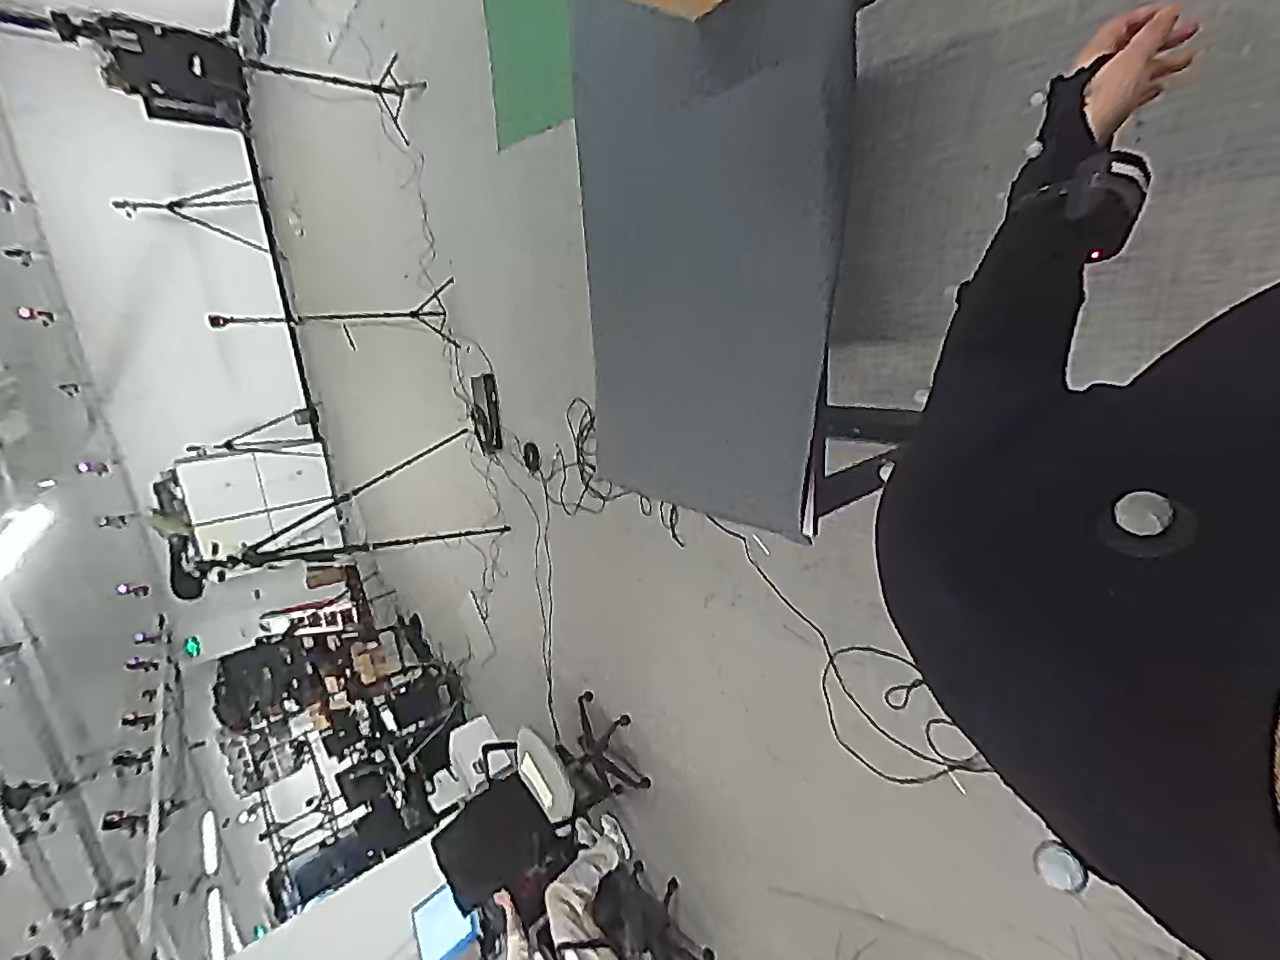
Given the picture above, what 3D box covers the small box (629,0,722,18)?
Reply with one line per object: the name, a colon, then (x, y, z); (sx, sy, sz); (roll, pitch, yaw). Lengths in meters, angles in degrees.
small box: (0.071, -0.797, 0.755); (0.179, 0.176, 0.168); (17, 117, 51)
